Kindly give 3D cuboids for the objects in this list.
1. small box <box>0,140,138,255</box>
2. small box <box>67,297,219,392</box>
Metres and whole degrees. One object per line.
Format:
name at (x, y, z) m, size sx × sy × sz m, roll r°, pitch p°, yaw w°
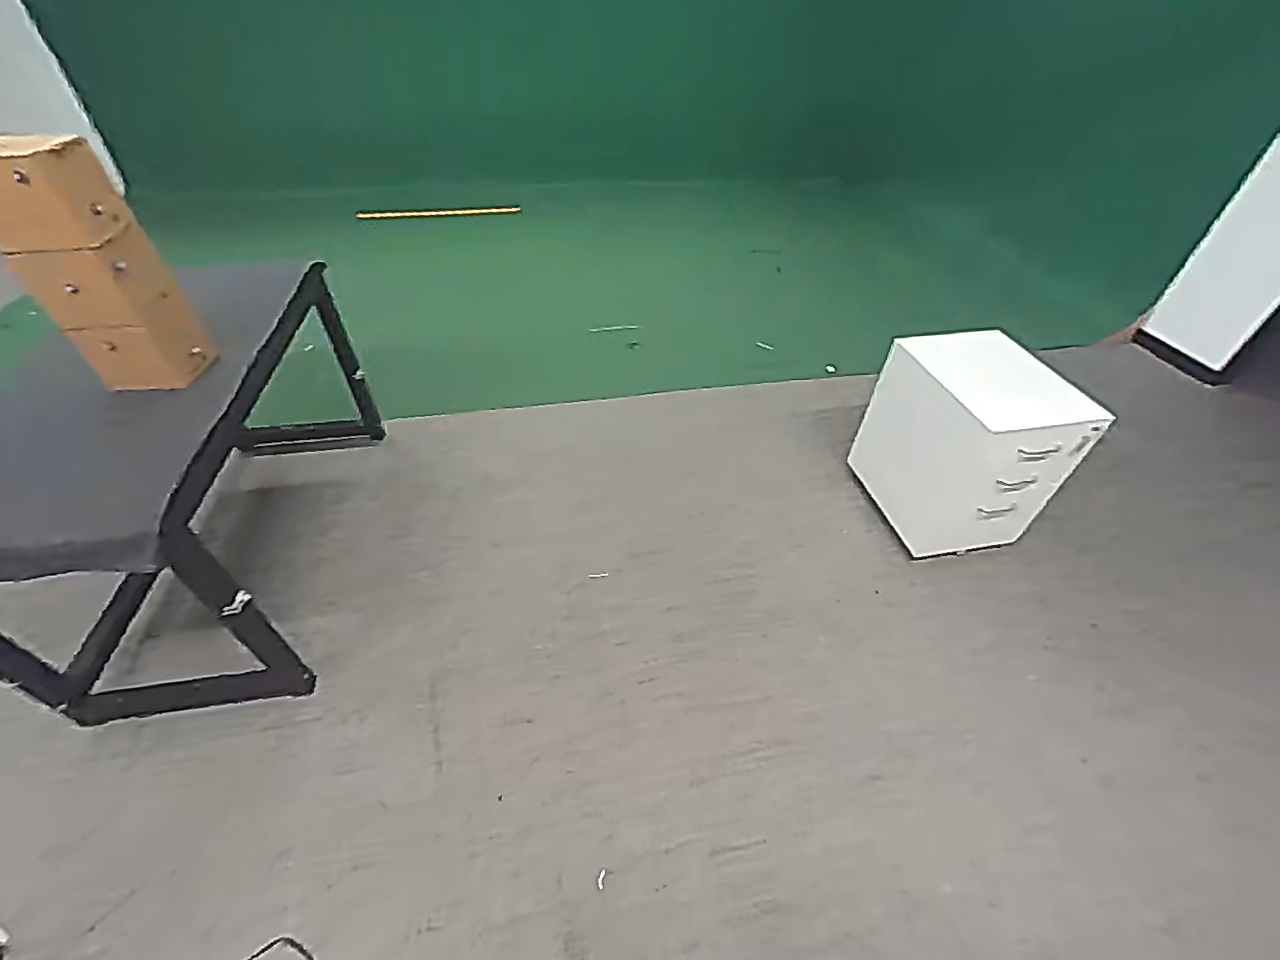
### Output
small box at (-1.178, -0.560, 1.075) m, size 0.179 × 0.176 × 0.168 m, roll -6°, pitch 43°, yaw -7°
small box at (-1.179, -0.324, 1.301) m, size 0.179 × 0.176 × 0.168 m, roll -2°, pitch 44°, yaw -4°
